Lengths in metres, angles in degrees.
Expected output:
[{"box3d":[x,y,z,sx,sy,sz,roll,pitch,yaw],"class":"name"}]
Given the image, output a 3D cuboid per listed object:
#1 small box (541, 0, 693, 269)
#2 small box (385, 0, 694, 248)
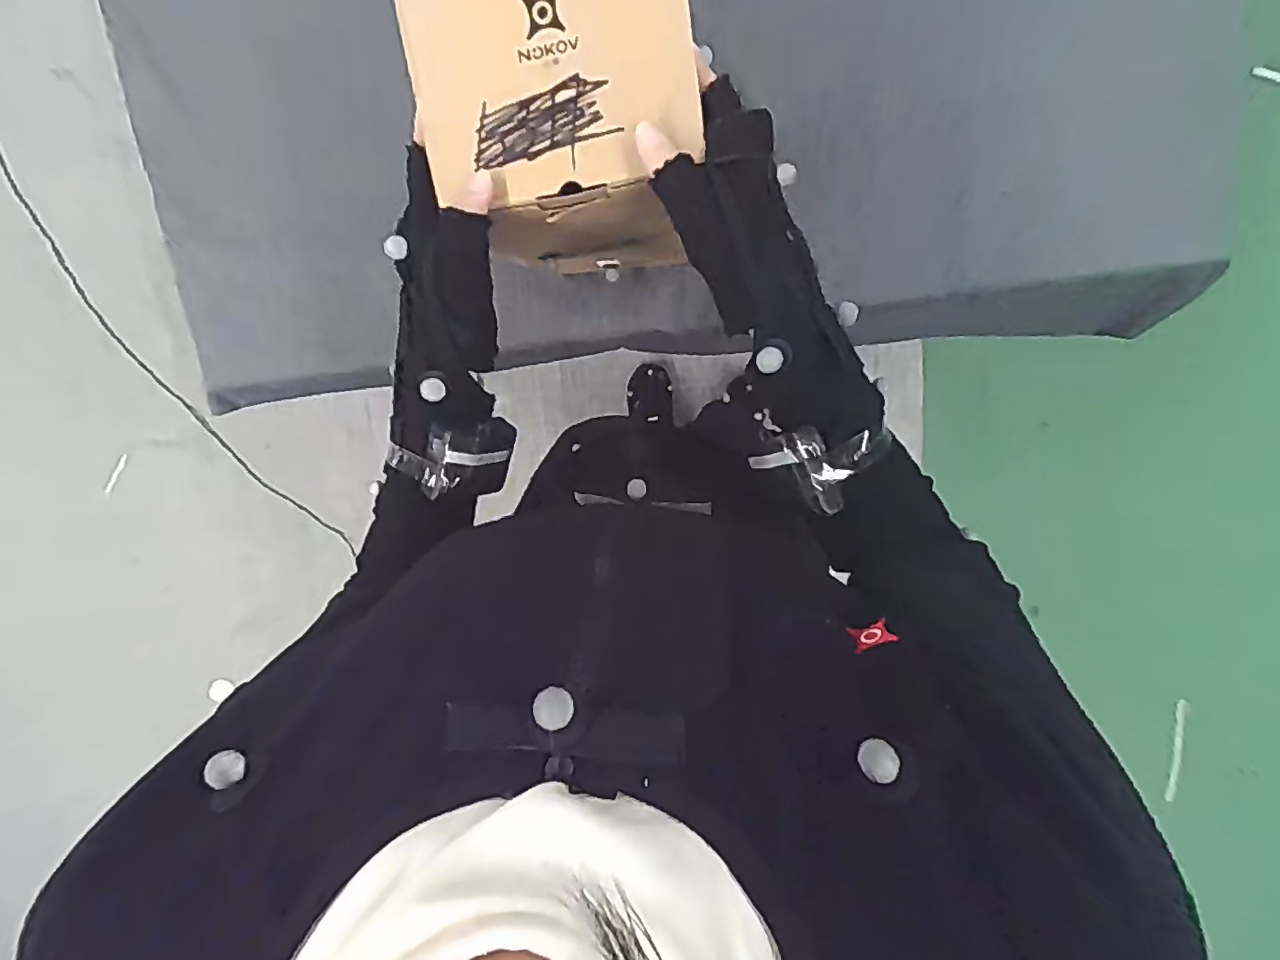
[{"box3d":[-0.036,-0.323,0.540,0.168,0.176,0.179,-4,103,7],"class":"small box"},{"box3d":[-0.053,-0.276,0.381,0.168,0.176,0.179,-8,101,7],"class":"small box"}]
